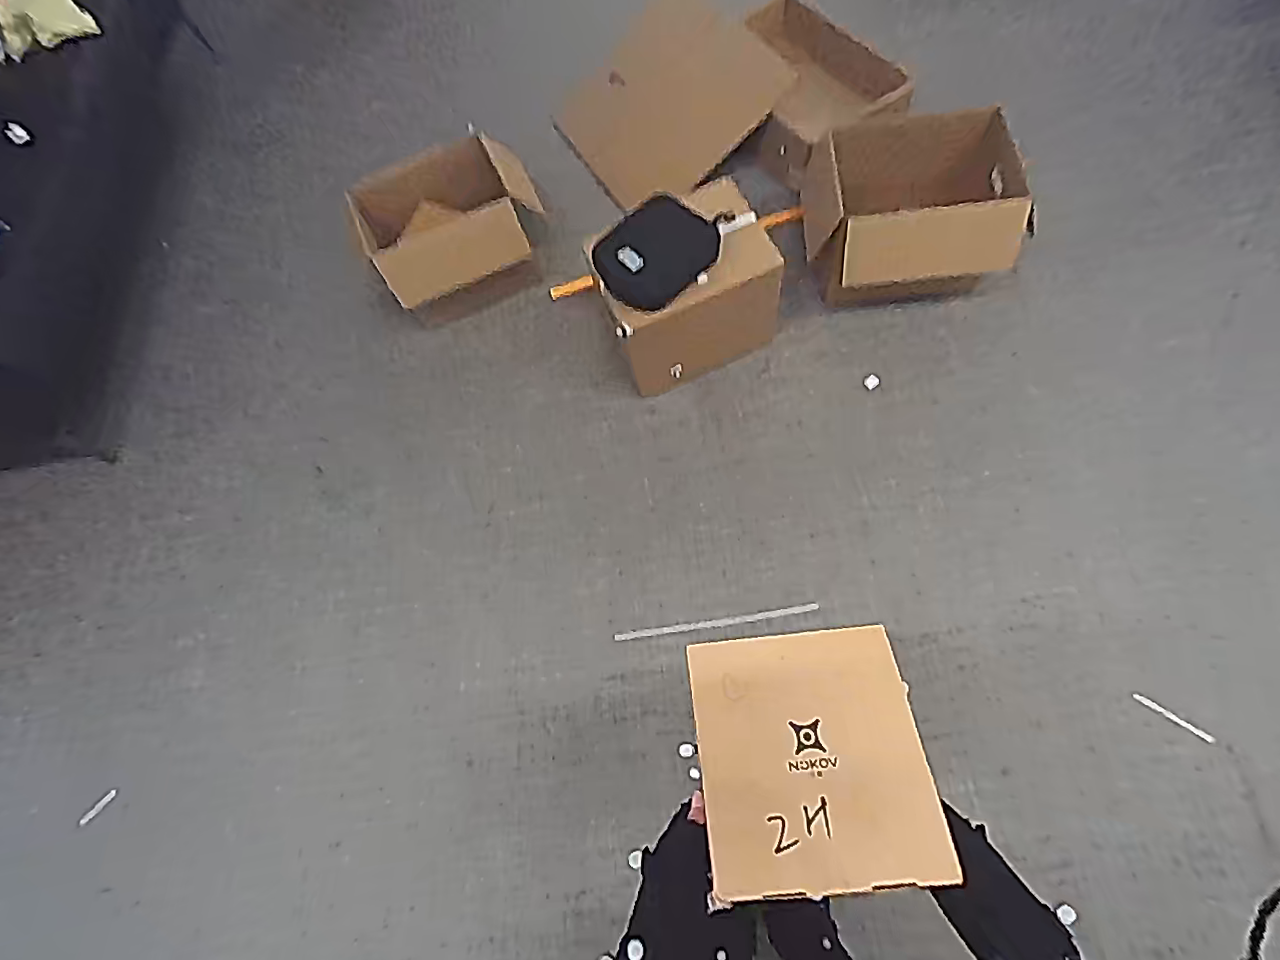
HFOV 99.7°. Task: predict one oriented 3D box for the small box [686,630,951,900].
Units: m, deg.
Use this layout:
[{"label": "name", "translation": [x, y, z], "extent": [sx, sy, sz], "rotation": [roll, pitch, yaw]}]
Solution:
[{"label": "small box", "translation": [0.130, 0.247, 0.476], "extent": [0.168, 0.176, 0.179], "rotation": [-7, 58, 3]}]
